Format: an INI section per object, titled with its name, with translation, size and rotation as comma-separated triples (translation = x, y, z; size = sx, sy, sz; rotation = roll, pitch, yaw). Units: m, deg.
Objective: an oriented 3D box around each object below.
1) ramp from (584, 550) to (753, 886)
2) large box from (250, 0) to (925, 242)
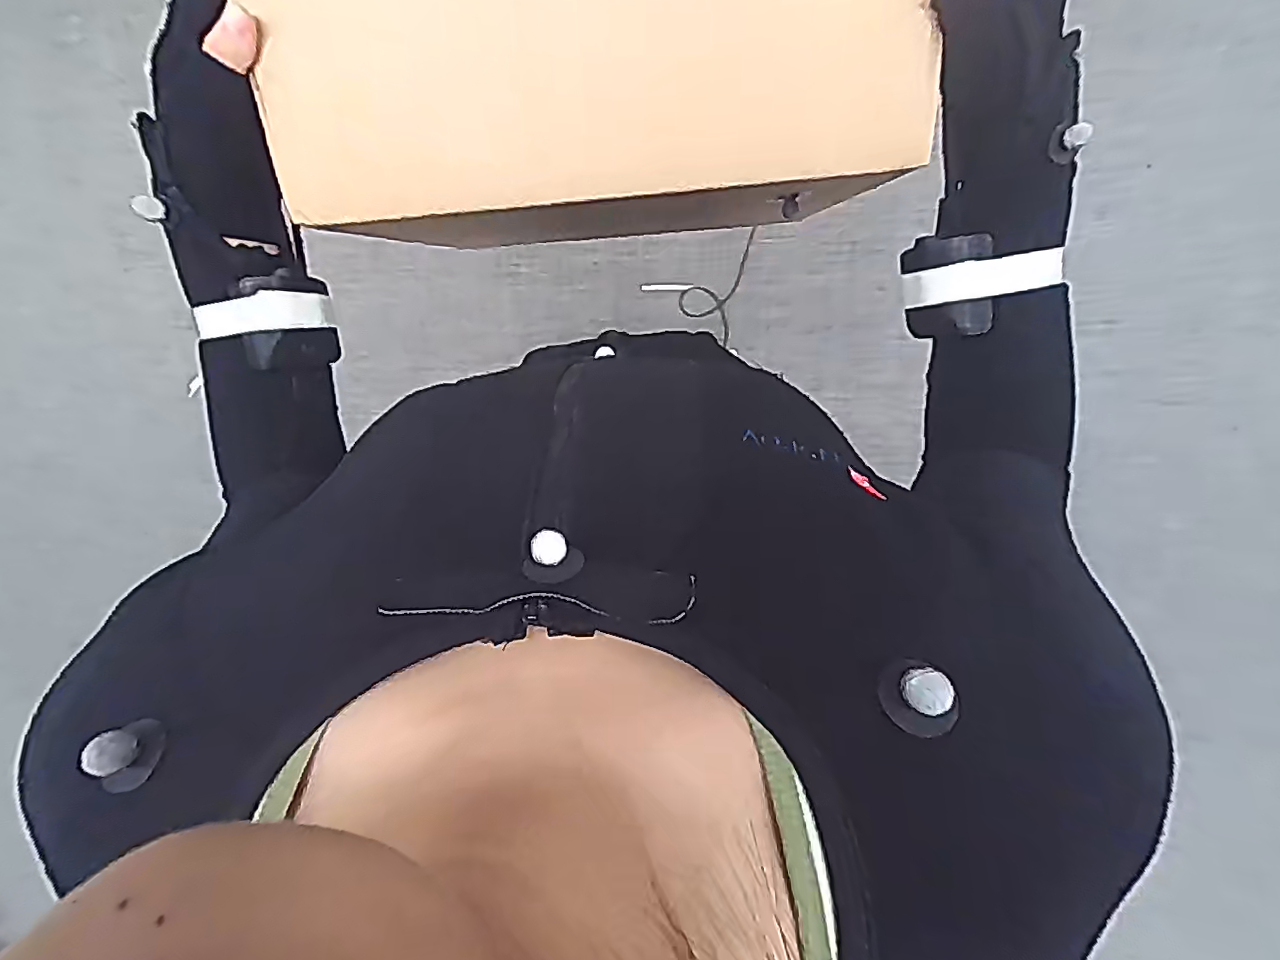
[ramp]
translation = 0.079, 0.702, 1.591
size = 0.509, 0.206, 0.991
rotation = -1, 104, 6
[large box]
translation = -0.031, -0.383, 0.439
size = 0.408, 0.320, 0.320
rotation = -3, 110, 4
